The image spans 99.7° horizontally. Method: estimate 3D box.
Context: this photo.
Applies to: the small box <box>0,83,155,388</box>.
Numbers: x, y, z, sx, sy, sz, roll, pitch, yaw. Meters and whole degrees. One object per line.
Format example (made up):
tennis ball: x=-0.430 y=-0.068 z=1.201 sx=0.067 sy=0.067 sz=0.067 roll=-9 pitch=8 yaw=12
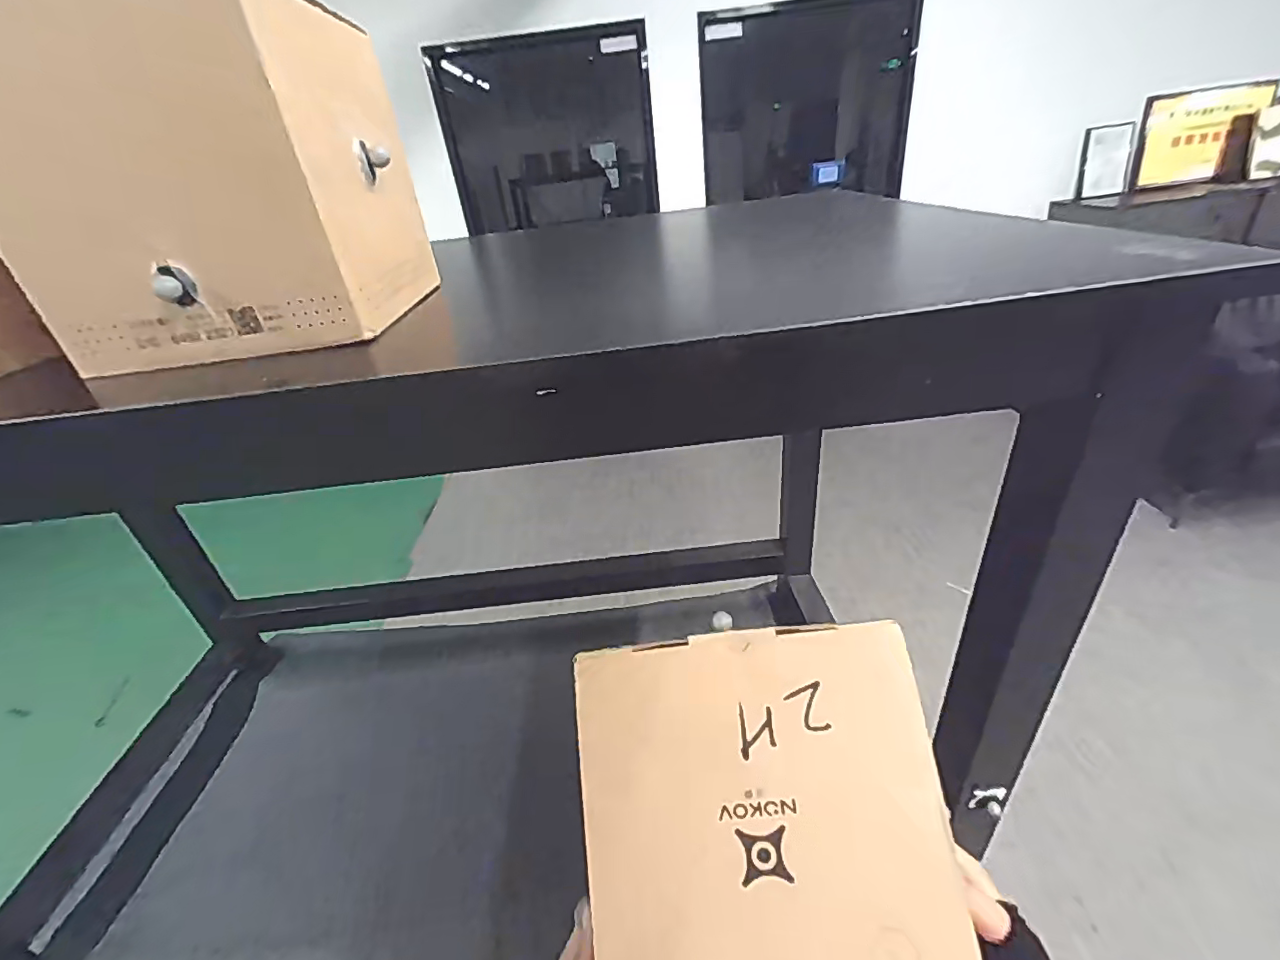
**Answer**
small box: x=-0.485 y=-0.147 z=0.348 sx=0.168 sy=0.176 sz=0.179 roll=-6 pitch=30 yaw=2
